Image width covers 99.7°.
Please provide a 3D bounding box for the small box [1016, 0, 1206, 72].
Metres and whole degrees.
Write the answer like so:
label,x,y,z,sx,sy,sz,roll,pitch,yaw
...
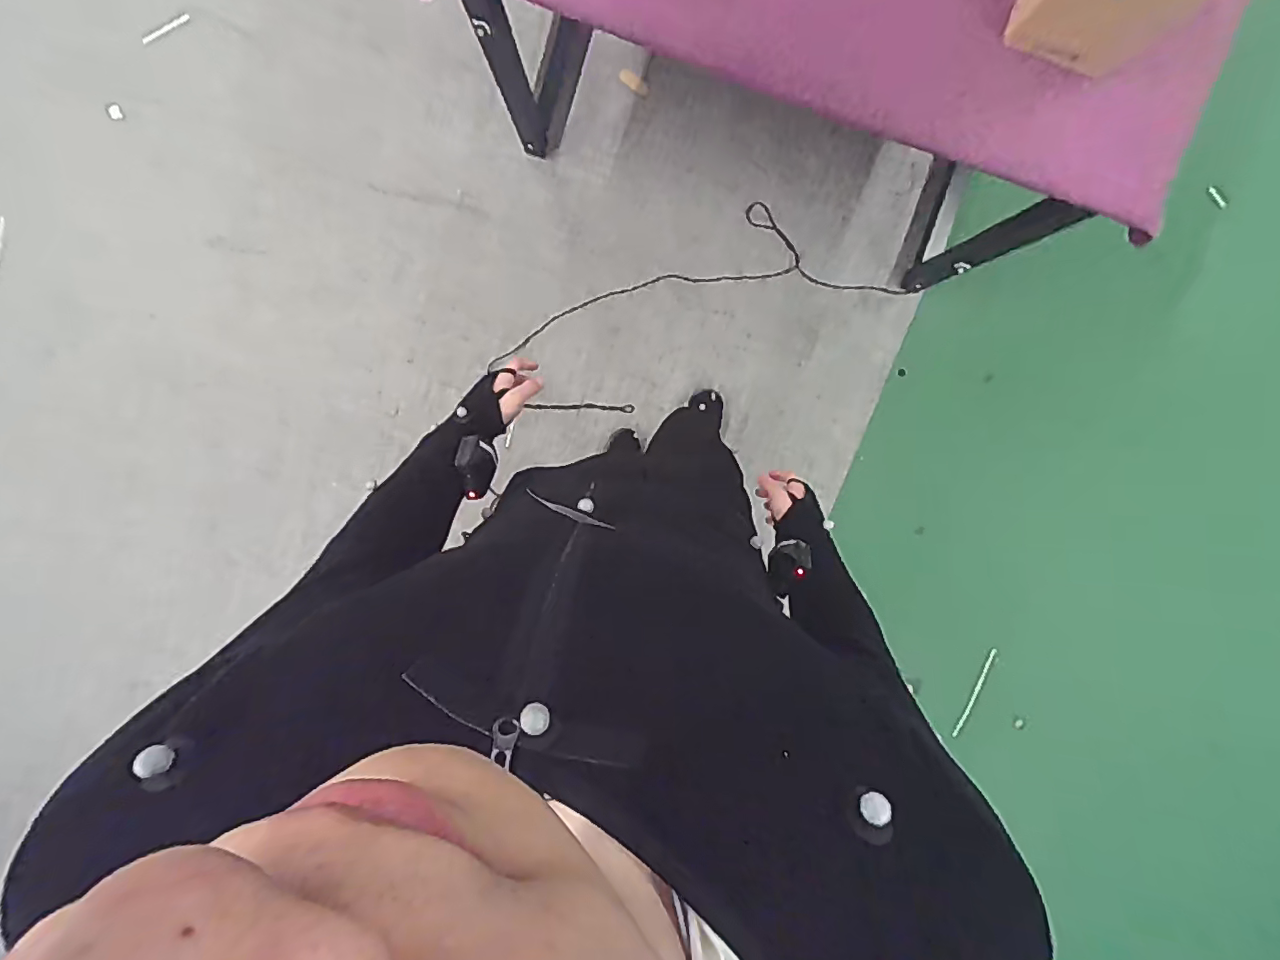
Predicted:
label,x,y,z,sx,sy,sz,roll,pitch,yaw
small box,0.650,-0.705,0.718,0.168,0.176,0.179,18,96,-1
